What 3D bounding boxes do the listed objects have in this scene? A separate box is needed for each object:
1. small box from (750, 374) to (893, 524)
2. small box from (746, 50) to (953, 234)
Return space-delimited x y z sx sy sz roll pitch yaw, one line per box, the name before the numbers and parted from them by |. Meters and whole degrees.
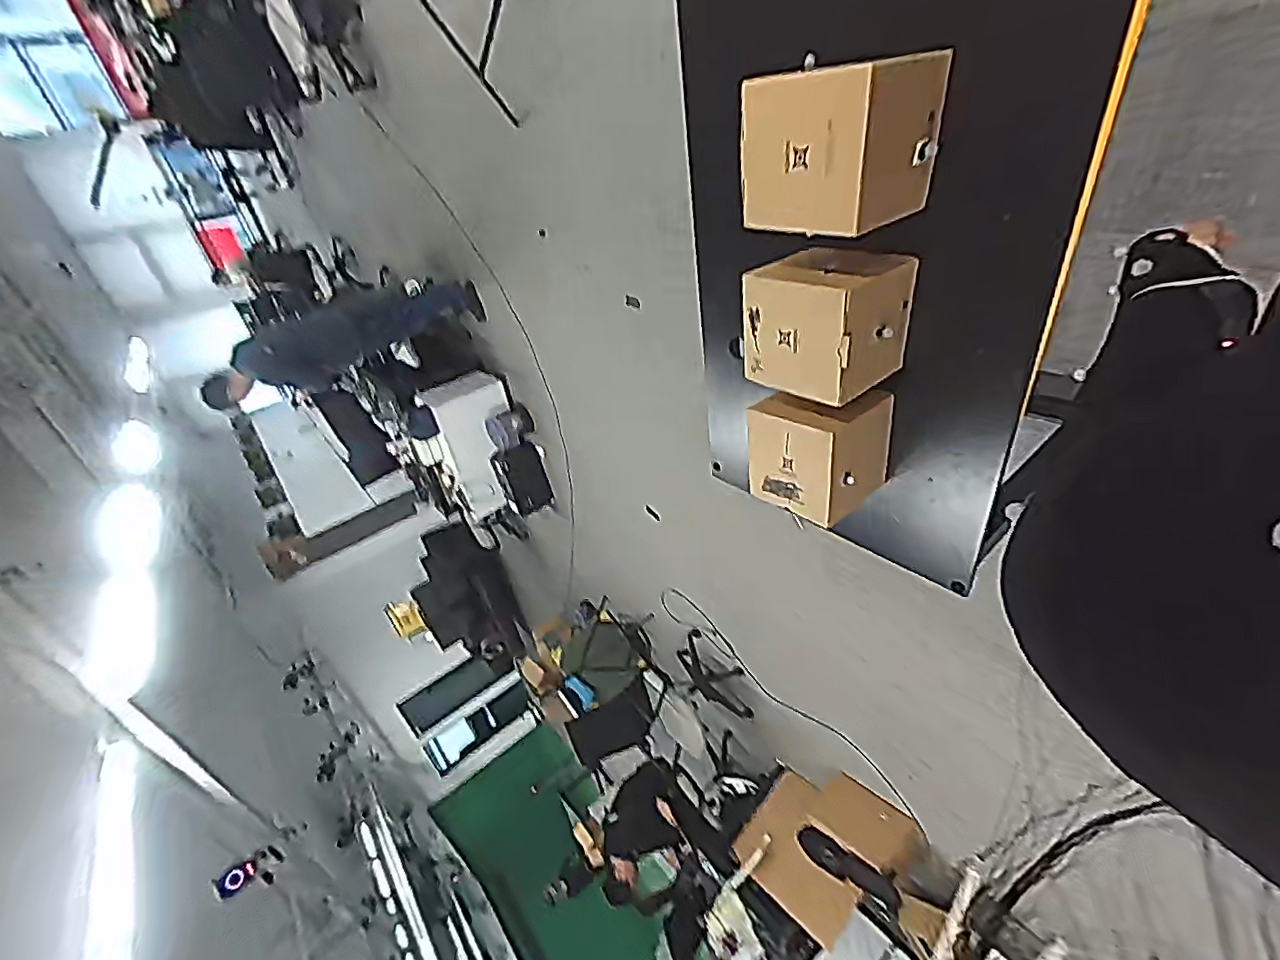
small box | 0.310 -0.060 0.928 0.168 0.176 0.179 28 137 45
small box | 0.255 -0.423 0.684 0.179 0.176 0.168 30 141 43
